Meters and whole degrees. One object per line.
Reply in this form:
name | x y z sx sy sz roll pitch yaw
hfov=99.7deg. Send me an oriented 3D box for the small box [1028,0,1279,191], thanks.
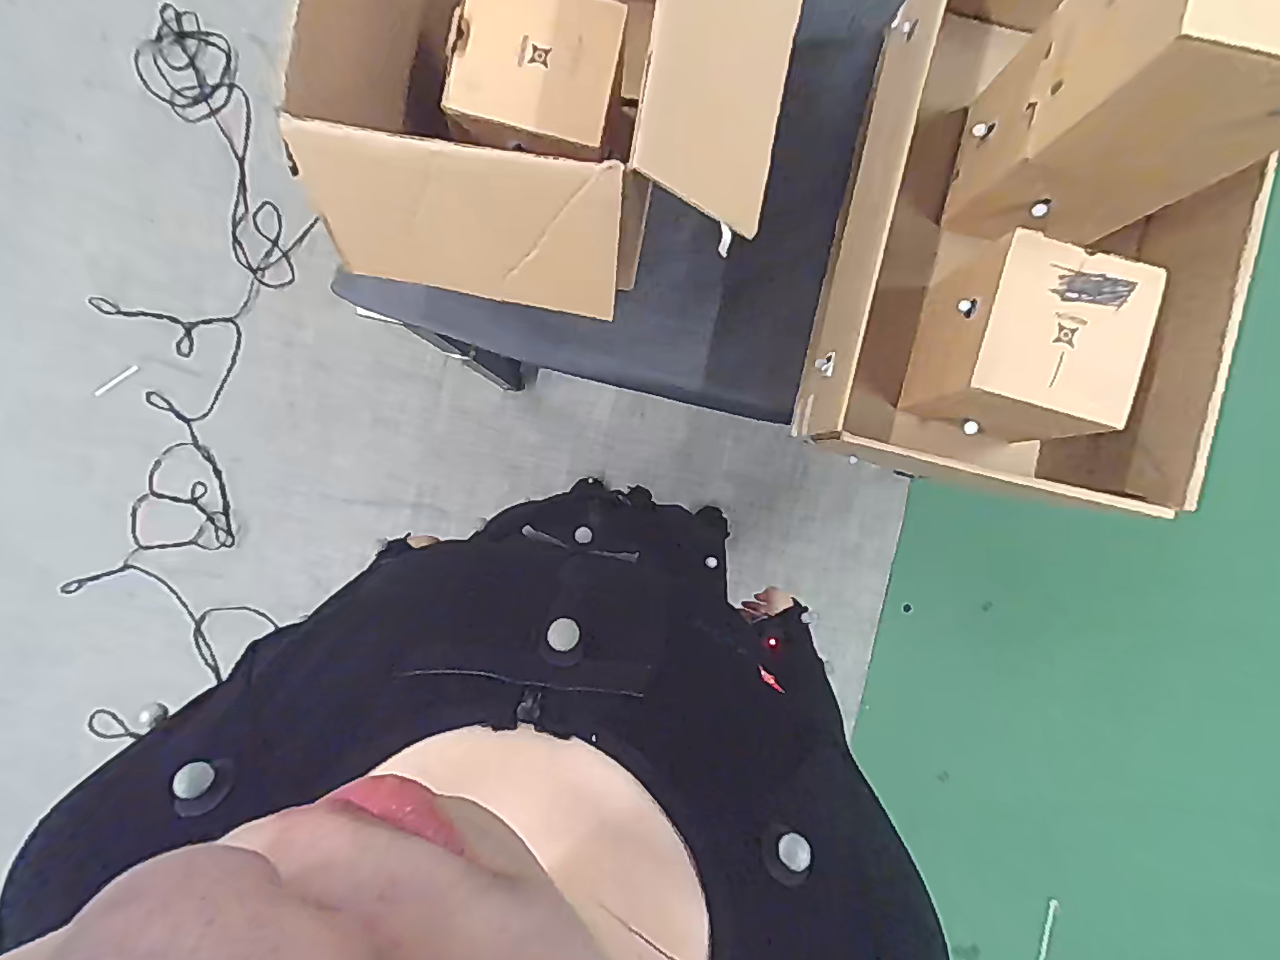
small box | 0.495 -0.388 0.479 0.179 0.176 0.168 12 92 0
